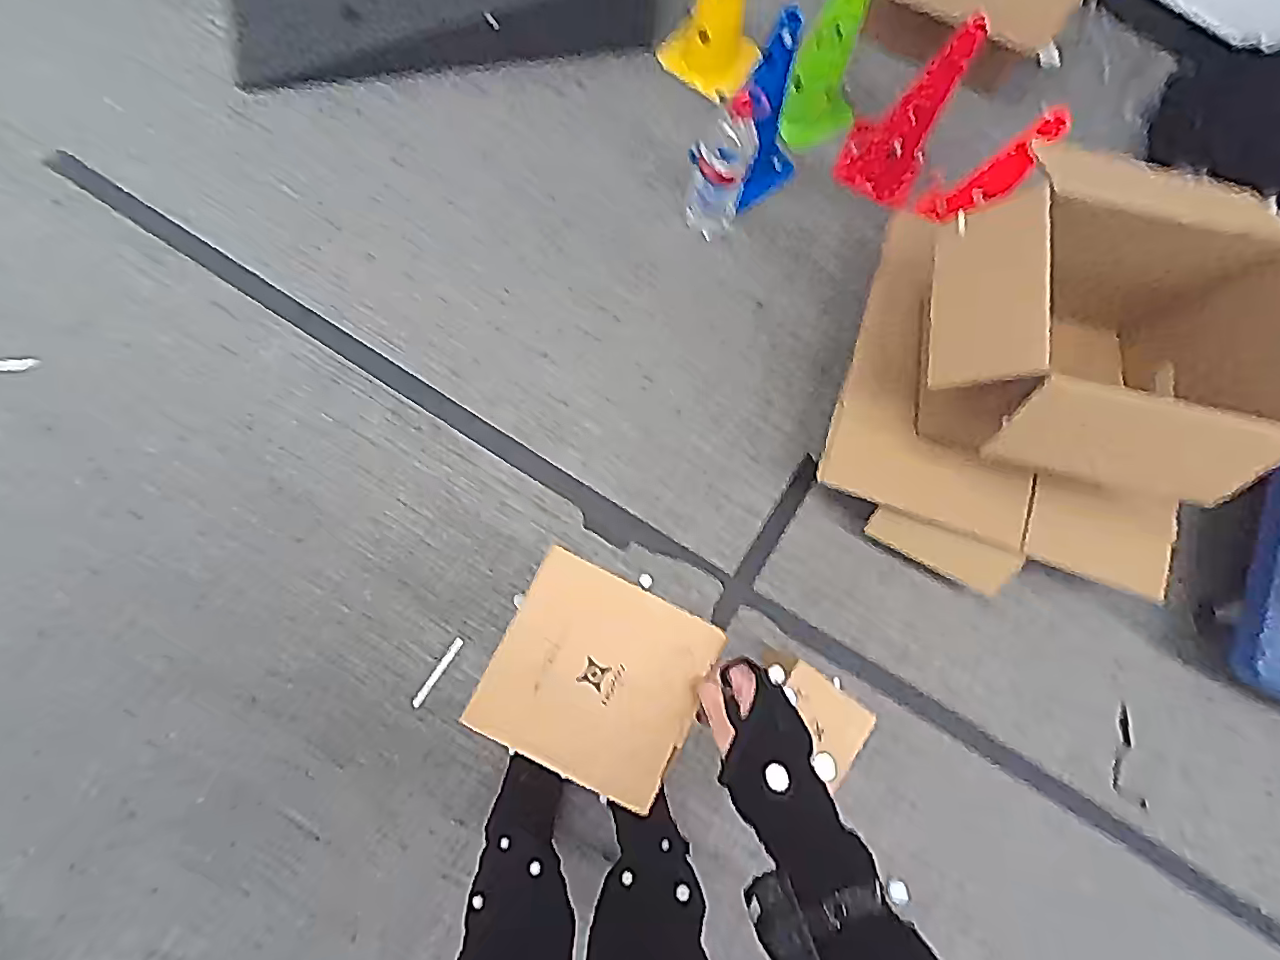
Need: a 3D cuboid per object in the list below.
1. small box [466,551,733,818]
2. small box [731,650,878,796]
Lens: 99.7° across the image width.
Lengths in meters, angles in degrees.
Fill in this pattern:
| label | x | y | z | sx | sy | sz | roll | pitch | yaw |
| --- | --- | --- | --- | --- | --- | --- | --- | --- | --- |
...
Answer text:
| label | x | y | z | sx | sy | sz | roll | pitch | yaw |
| --- | --- | --- | --- | --- | --- | --- | --- | --- | --- |
| small box | -0.037 | 0.180 | 0.532 | 0.179 | 0.176 | 0.168 | 27 | 79 | 0 |
| small box | 0.302 | 0.447 | 1.030 | 0.179 | 0.176 | 0.168 | 38 | 79 | 1 |
